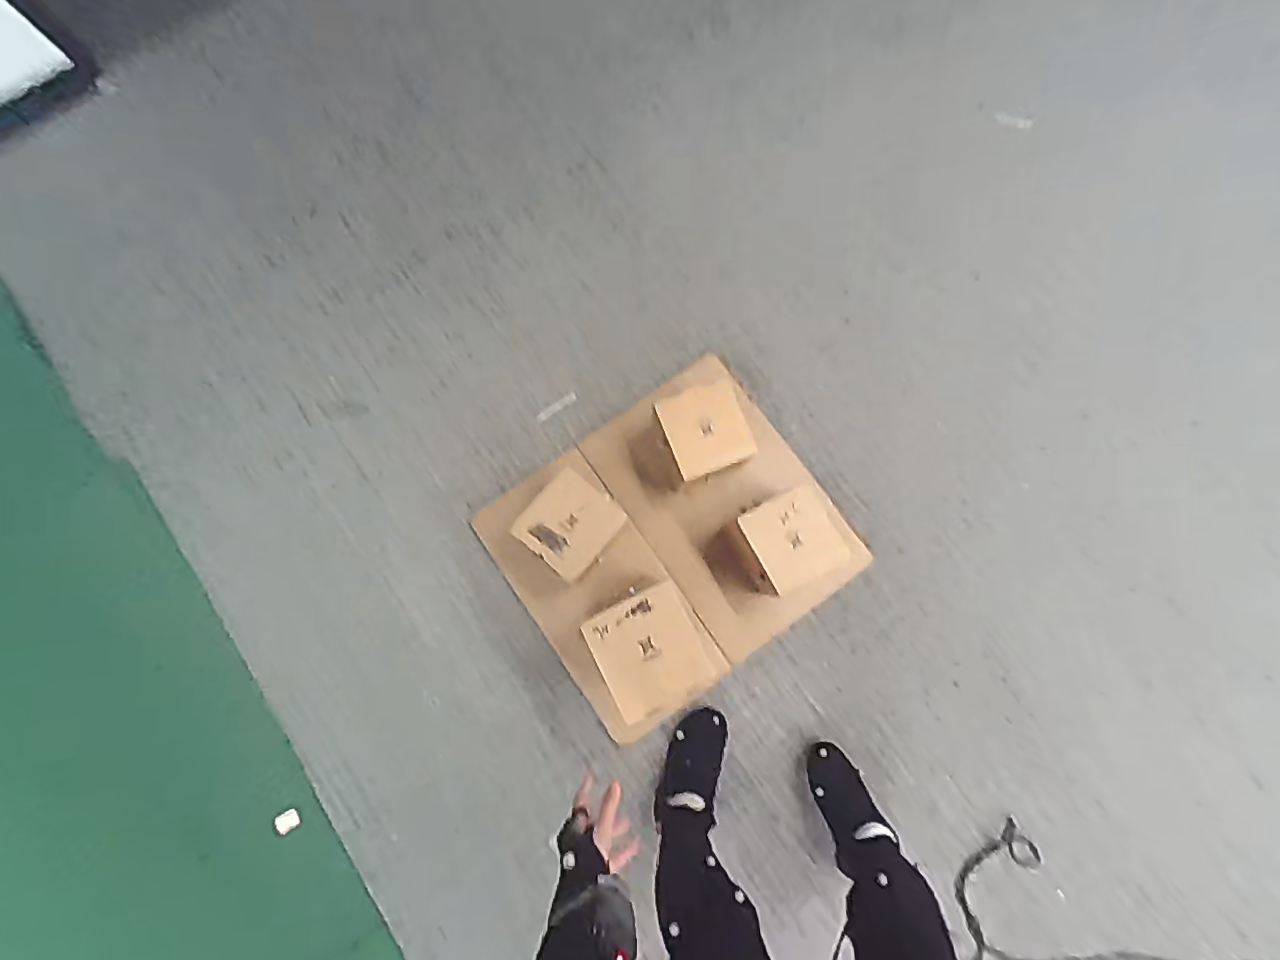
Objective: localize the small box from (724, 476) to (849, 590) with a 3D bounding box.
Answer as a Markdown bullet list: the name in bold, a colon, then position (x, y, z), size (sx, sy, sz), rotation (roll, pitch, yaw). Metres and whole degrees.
- **small box**: position (0.297, 0.115, 1.134), size (0.168, 0.176, 0.179), rotation (-28, 81, -6)

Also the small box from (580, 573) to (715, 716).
- **small box**: position (0.011, 0.273, 0.942), size (0.168, 0.176, 0.179), rotation (-26, 81, -6)

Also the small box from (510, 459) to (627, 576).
- **small box**: position (-0.140, 0.087, 1.140), size (0.168, 0.176, 0.179), rotation (40, 81, 6)
